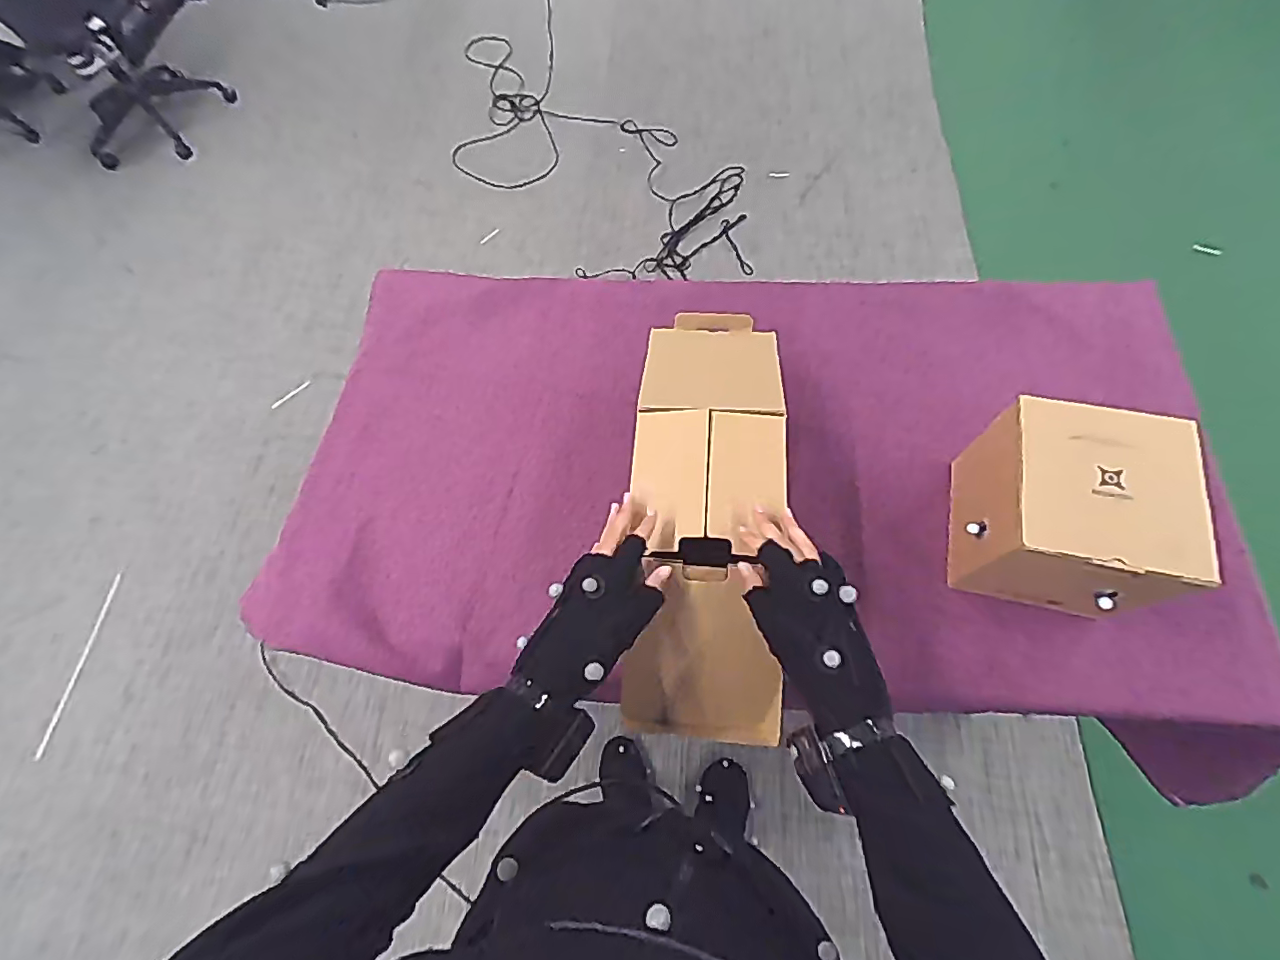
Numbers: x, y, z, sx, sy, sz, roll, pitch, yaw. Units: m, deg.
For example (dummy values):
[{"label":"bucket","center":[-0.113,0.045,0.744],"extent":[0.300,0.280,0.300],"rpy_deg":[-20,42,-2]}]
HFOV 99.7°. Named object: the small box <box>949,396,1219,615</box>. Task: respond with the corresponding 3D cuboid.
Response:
[{"label":"small box","center":[0.464,0.036,0.597],"extent":[0.168,0.176,0.179],"rpy_deg":[12,67,11]}]
